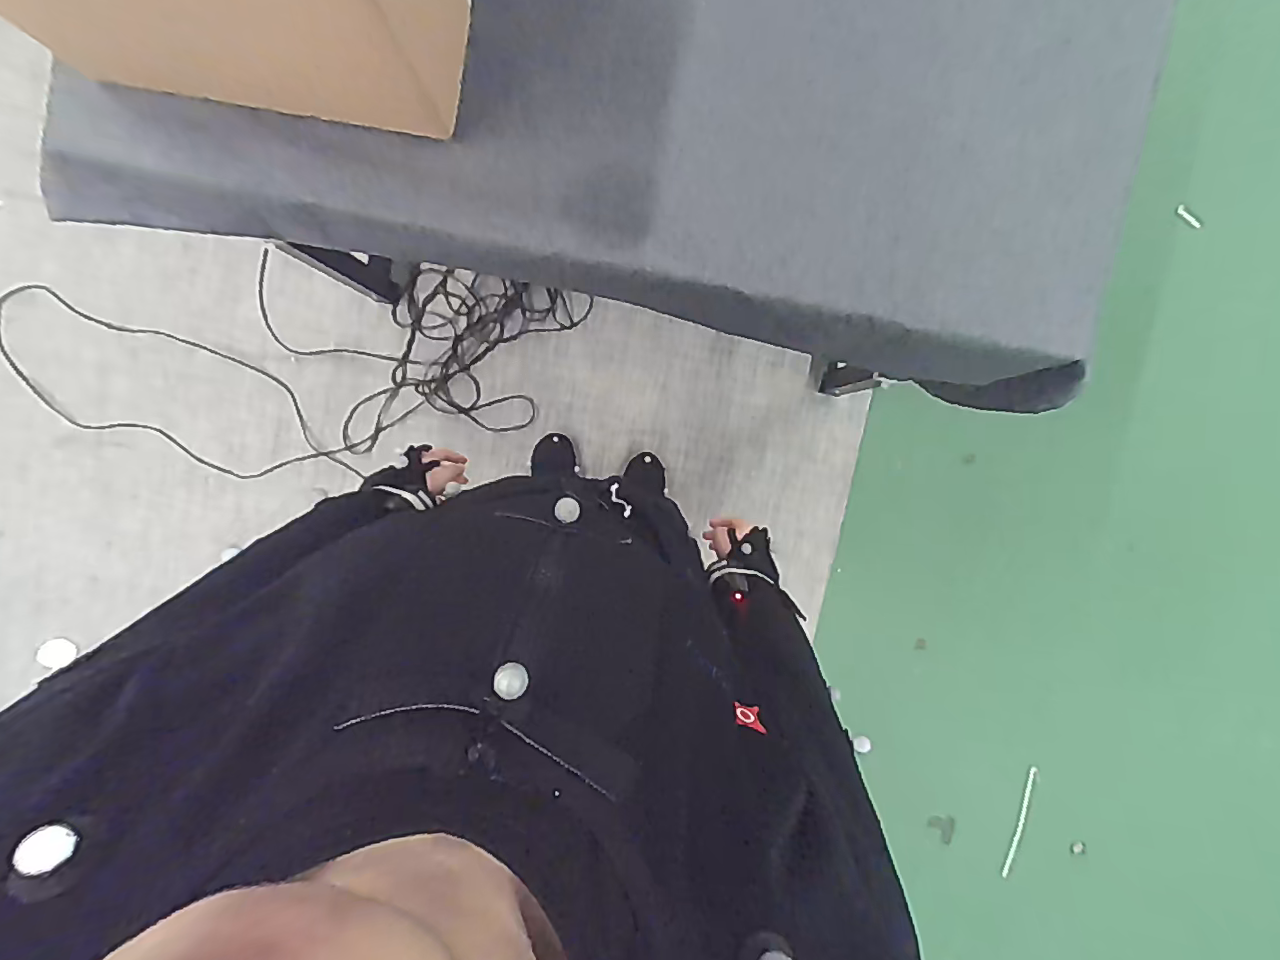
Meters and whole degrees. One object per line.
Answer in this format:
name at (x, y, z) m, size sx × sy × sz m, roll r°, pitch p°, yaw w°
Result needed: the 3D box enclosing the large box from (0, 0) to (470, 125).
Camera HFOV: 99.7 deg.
large box at (-0.374, -0.555, 0.436) m, size 0.408 × 0.320 × 0.320 m, roll 8°, pitch 94°, yaw -4°
